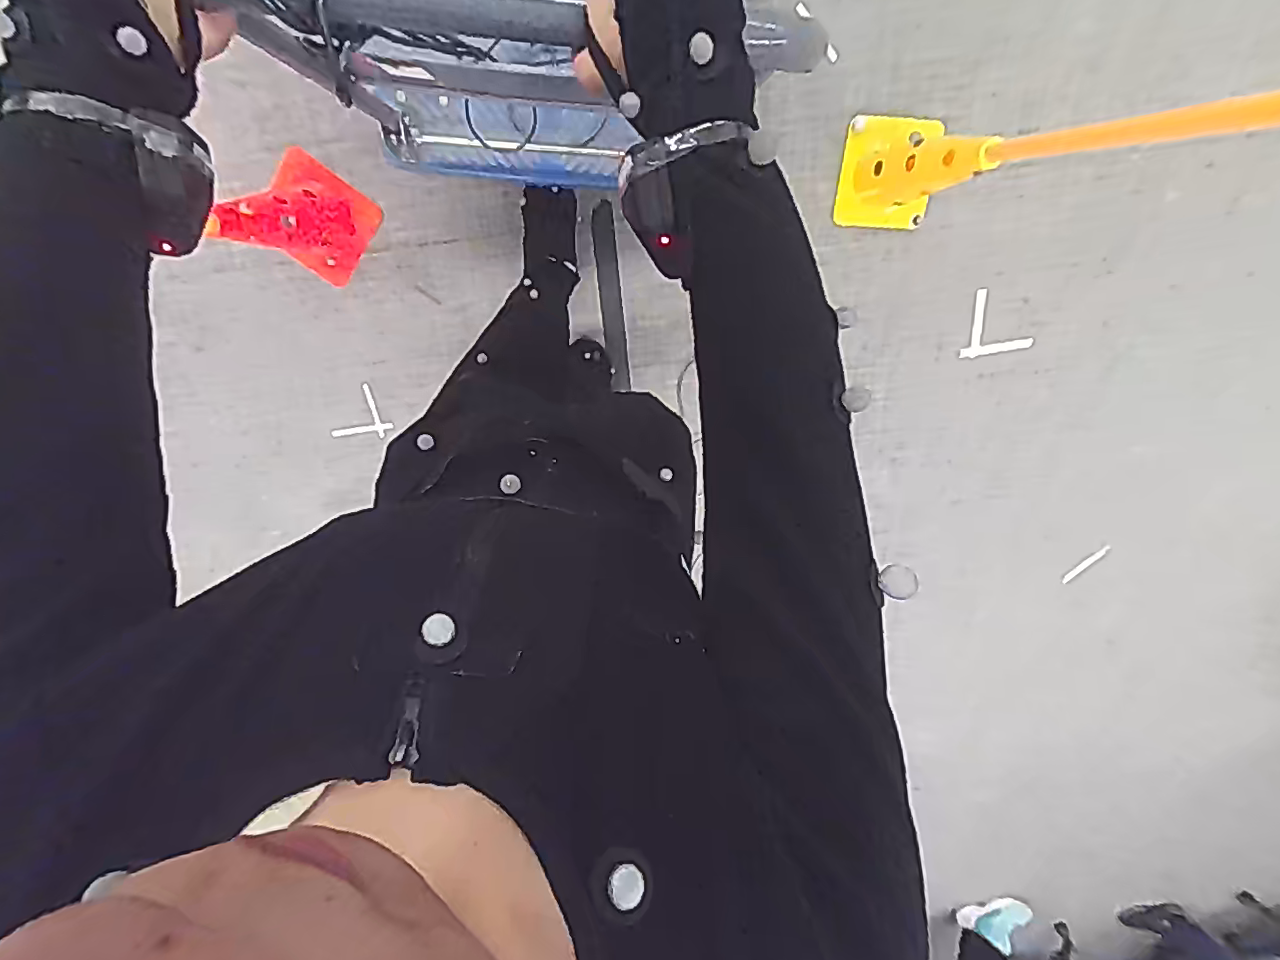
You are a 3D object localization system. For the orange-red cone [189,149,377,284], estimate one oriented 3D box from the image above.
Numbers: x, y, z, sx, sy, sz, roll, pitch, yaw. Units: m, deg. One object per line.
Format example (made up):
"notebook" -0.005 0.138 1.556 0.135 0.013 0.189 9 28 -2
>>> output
"orange-red cone" -0.656 -0.461 0.952 0.198 0.360 0.199 36 107 -19

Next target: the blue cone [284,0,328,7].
"blue cone" -0.623 -0.866 0.774 0.193 0.380 0.192 7 116 -6
